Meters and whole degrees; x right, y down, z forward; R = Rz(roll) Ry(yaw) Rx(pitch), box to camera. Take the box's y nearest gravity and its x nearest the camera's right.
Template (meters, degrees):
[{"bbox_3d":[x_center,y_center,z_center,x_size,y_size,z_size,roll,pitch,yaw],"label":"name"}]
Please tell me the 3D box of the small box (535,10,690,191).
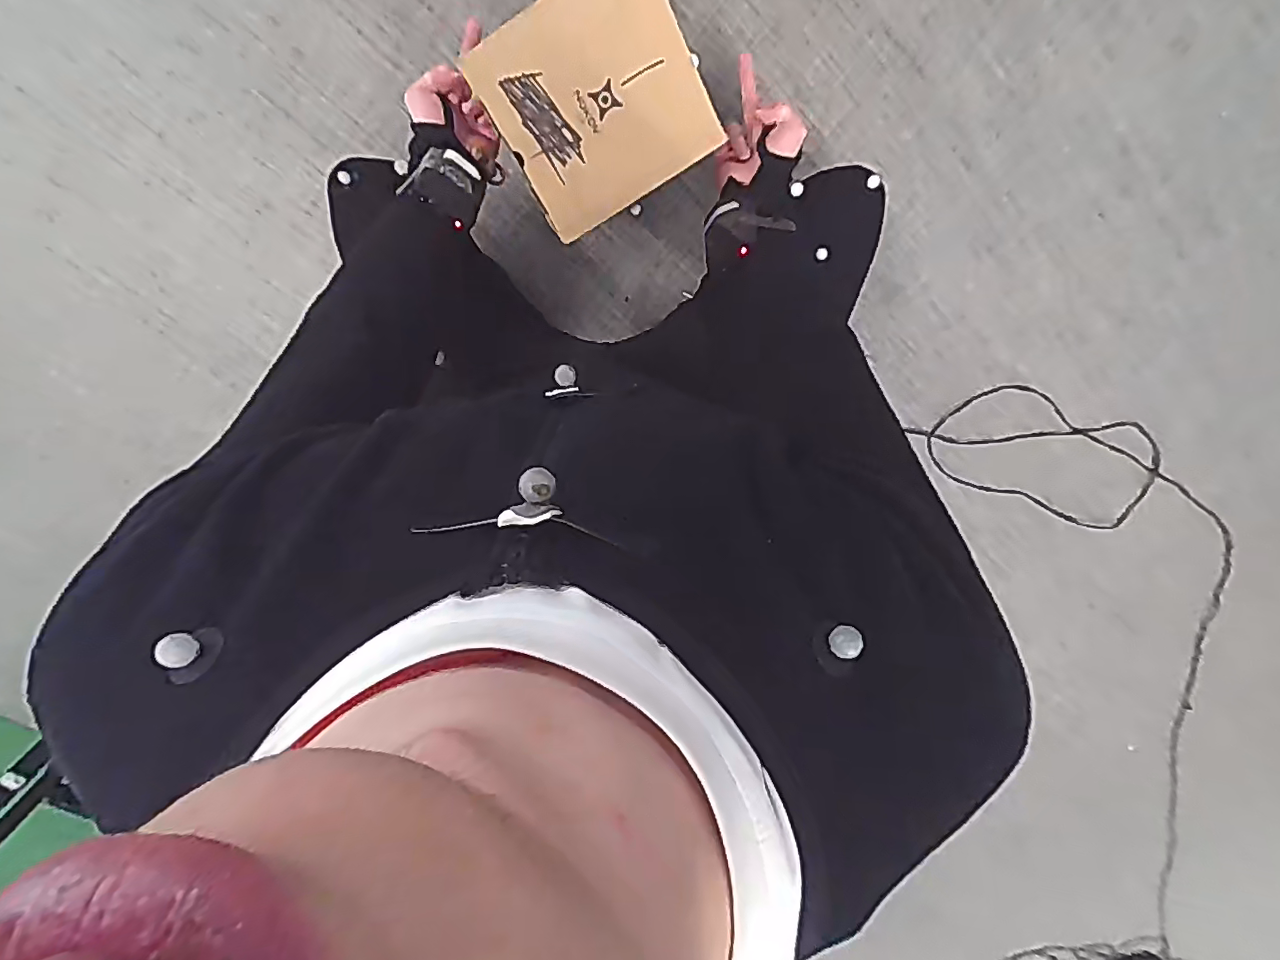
[{"bbox_3d":[-0.035,-0.546,0.806,0.179,0.176,0.168,19,118,-5],"label":"small box"}]
